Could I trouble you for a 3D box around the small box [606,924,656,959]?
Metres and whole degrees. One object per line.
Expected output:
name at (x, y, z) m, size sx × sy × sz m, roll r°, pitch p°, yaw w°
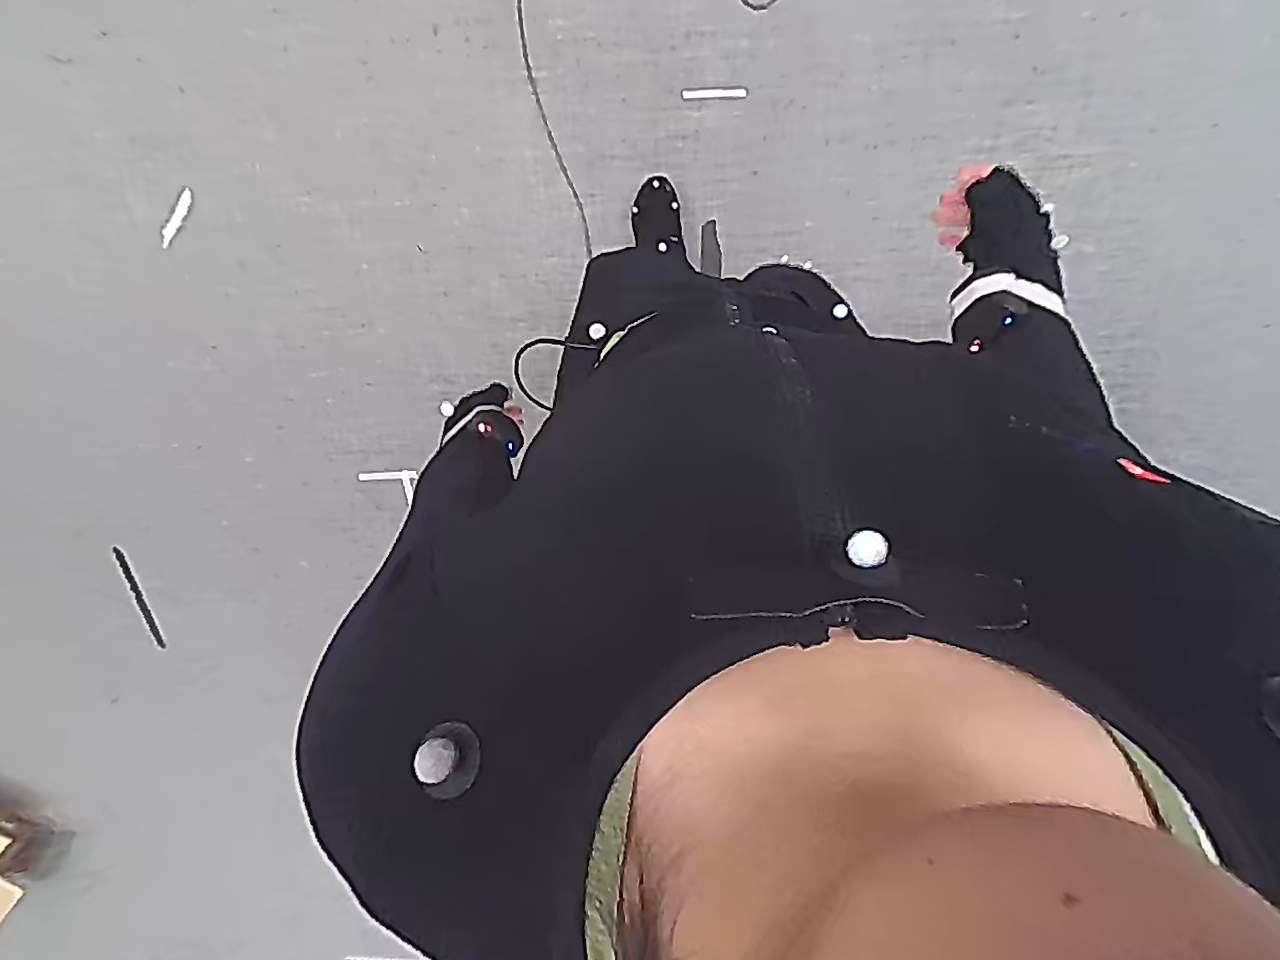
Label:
small box at (-0.040, 2.061, 2.324) m, size 0.179 × 0.176 × 0.168 m, roll -29°, pitch 107°, yaw 14°
